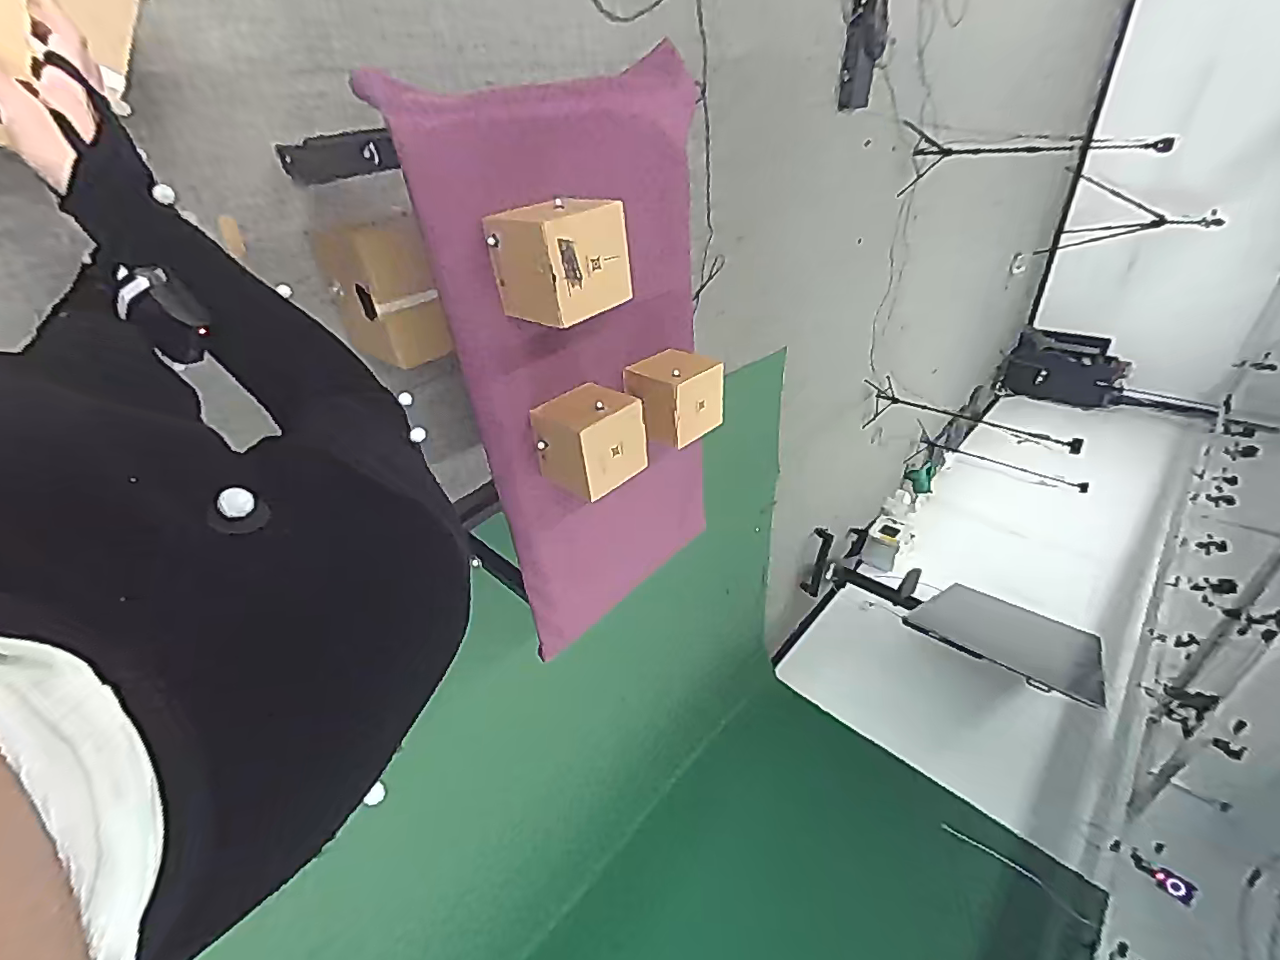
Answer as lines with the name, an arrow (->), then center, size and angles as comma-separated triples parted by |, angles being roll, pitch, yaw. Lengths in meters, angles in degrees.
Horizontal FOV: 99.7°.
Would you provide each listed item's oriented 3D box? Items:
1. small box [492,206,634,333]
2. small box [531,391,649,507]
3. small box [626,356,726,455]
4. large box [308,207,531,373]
small box -> -0.136, -0.372, 0.942 | 0.179, 0.176, 0.168 | -36, 134, -35
small box -> -0.102, -0.074, 1.146 | 0.179, 0.176, 0.168 | -33, 131, -36
small box -> 0.087, -0.188, 1.309 | 0.179, 0.176, 0.168 | -31, 131, -35
large box -> -0.568, -0.523, 1.439 | 0.408, 0.320, 0.320 | -35, 134, -35
